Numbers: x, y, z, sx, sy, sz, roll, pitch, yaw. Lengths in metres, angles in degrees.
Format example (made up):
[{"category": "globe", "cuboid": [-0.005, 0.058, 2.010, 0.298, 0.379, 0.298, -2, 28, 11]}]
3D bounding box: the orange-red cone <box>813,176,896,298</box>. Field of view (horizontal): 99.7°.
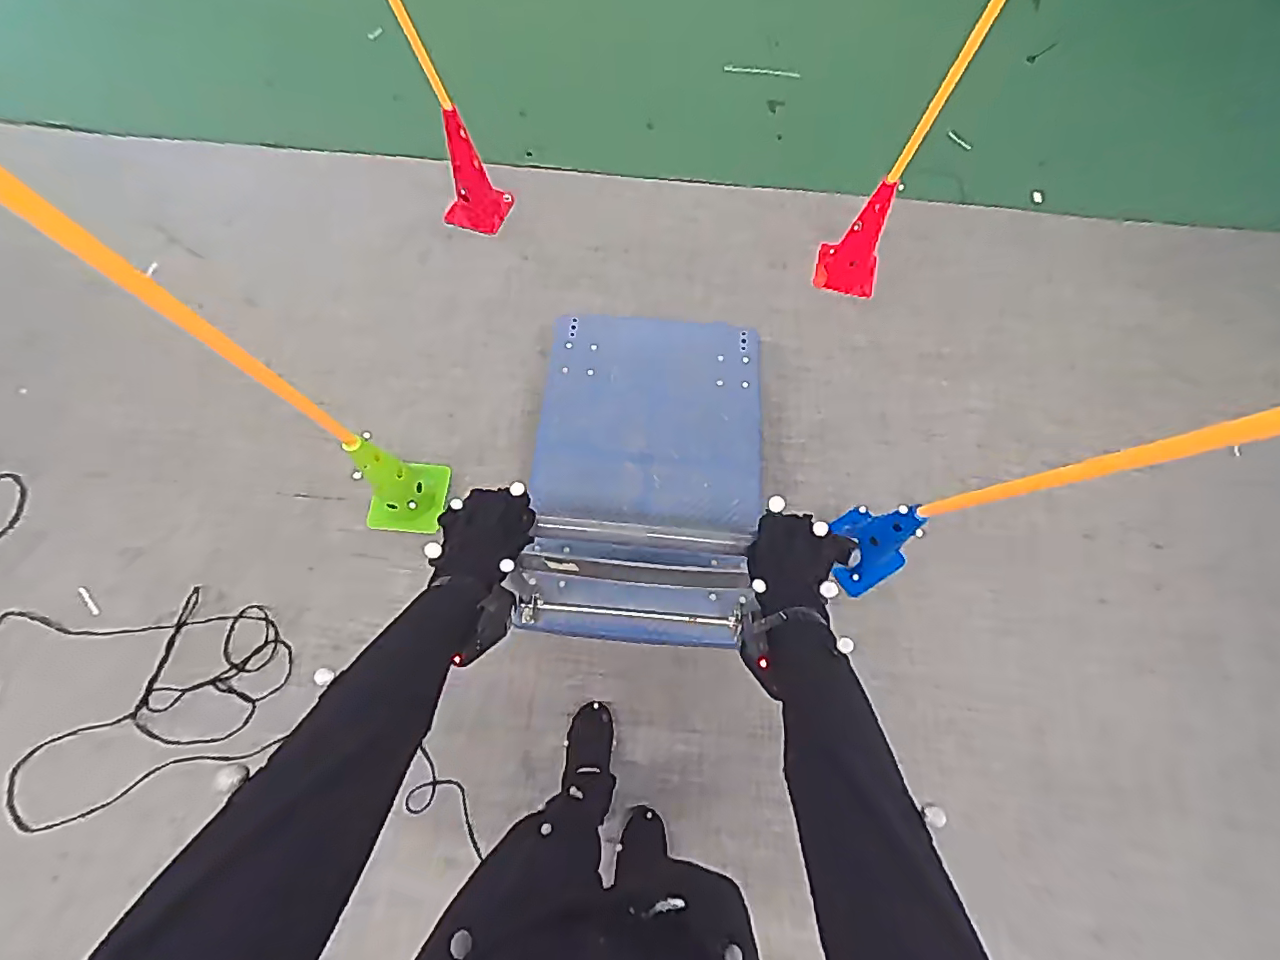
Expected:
[{"category": "orange-red cone", "cuboid": [0.698, -0.770, 1.673, 0.198, 0.360, 0.199, 16, 70, 6]}]
